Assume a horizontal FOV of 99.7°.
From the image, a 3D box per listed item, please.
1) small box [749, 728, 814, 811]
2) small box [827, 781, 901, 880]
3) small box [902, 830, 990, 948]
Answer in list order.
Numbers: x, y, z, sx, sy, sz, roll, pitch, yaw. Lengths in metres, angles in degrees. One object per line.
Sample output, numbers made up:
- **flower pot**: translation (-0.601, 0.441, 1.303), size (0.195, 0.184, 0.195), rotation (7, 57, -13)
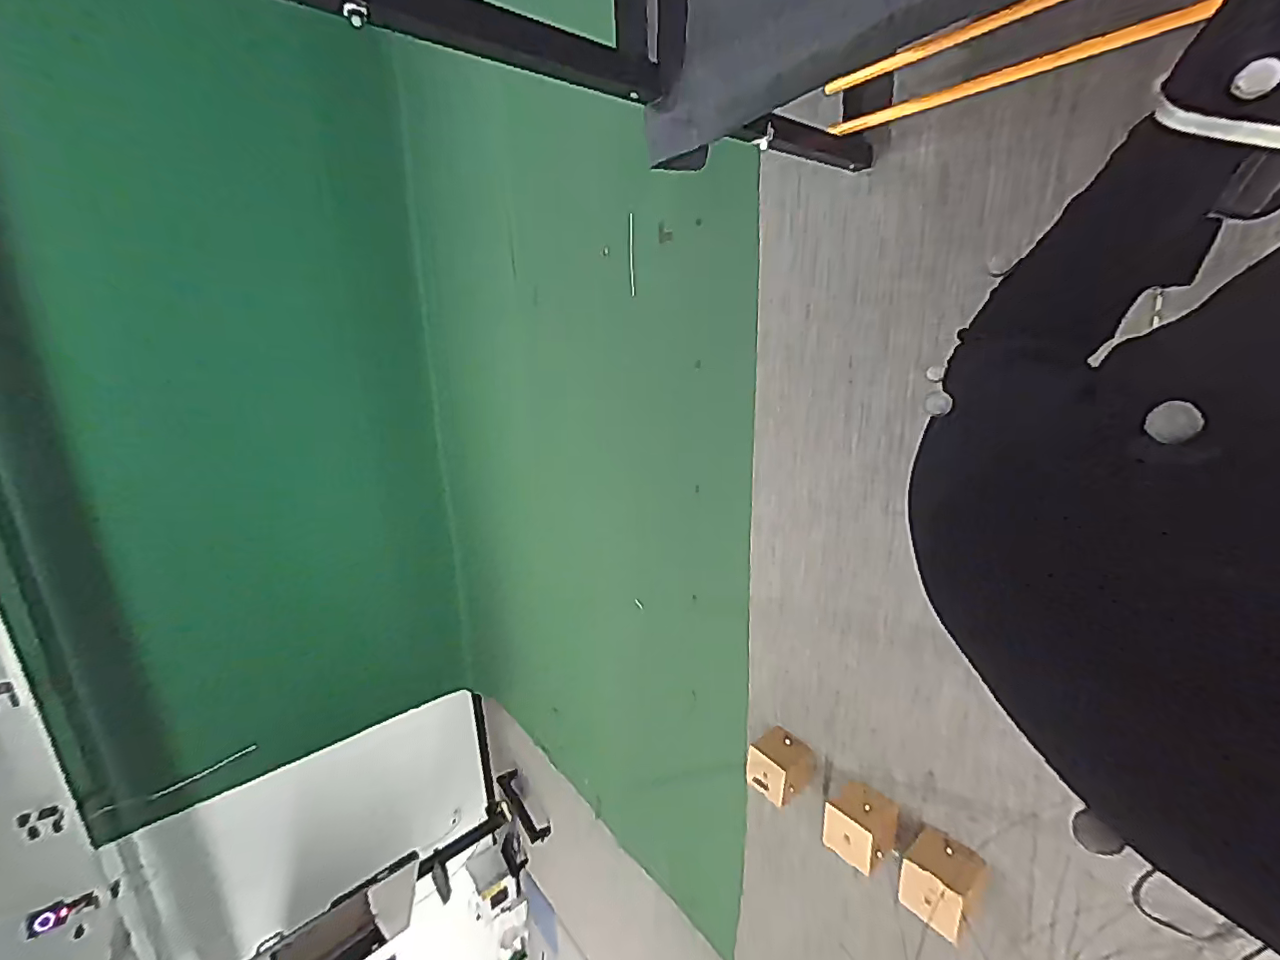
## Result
- **small box**: translation (0.530, 1.074, 2.019), size (0.168, 0.176, 0.179), rotation (21, 116, 47)
- **small box**: translation (0.738, 1.141, 1.776), size (0.168, 0.176, 0.179), rotation (16, 114, 49)
- **small box**: translation (0.896, 1.186, 1.581), size (0.168, 0.176, 0.179), rotation (17, 113, 48)
